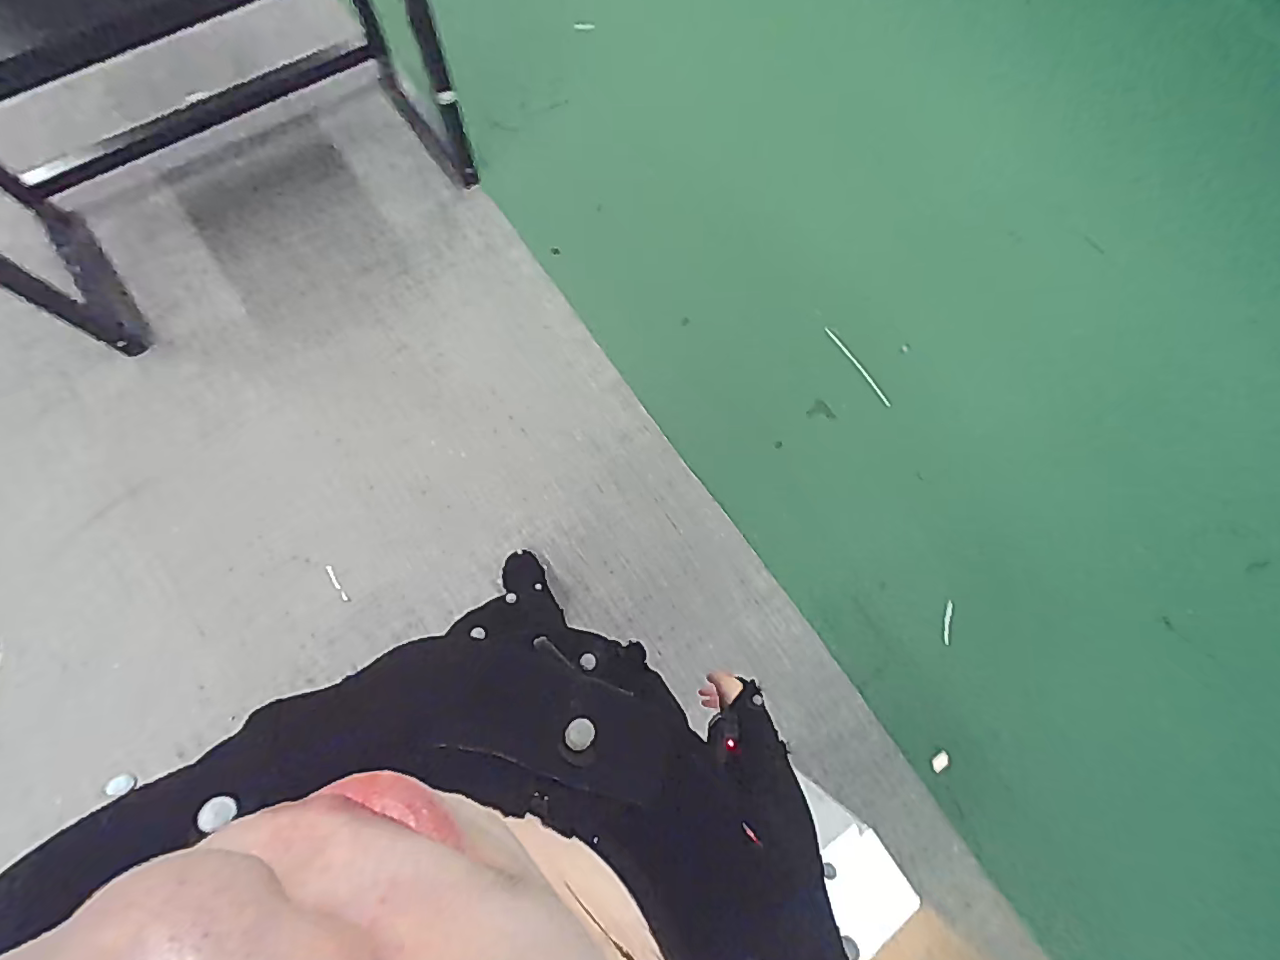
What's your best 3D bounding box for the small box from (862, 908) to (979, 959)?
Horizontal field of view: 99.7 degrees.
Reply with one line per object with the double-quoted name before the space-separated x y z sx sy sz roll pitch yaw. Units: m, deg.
"small box" 0.425 0.757 0.746 0.179 0.176 0.168 -36 81 -11
